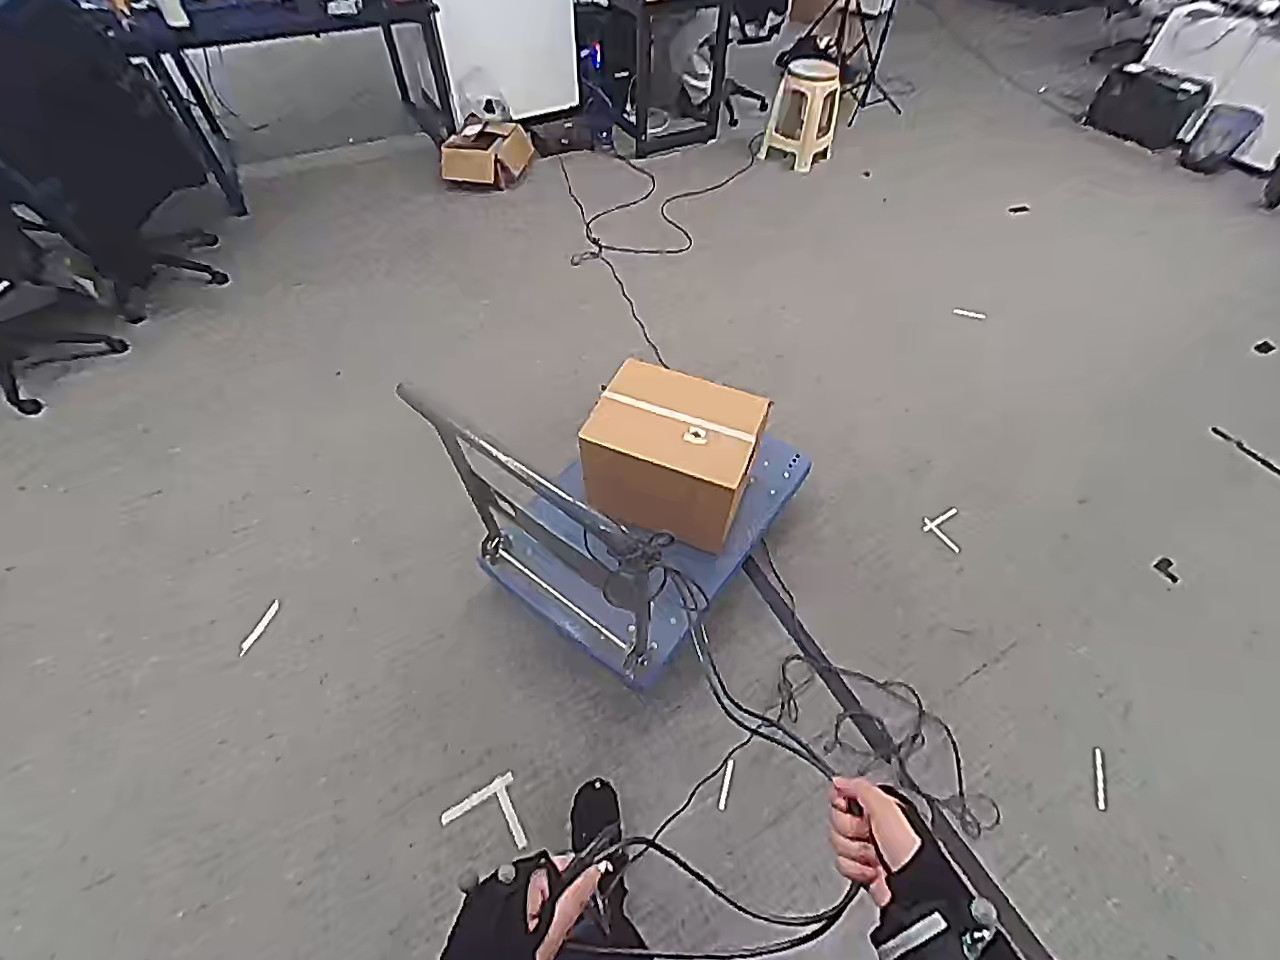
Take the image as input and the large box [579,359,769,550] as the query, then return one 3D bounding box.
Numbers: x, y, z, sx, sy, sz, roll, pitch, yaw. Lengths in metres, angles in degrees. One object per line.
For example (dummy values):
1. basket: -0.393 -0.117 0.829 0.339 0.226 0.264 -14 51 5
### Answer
1. large box: 0.086 -0.066 1.453 0.408 0.320 0.320 19 57 12
